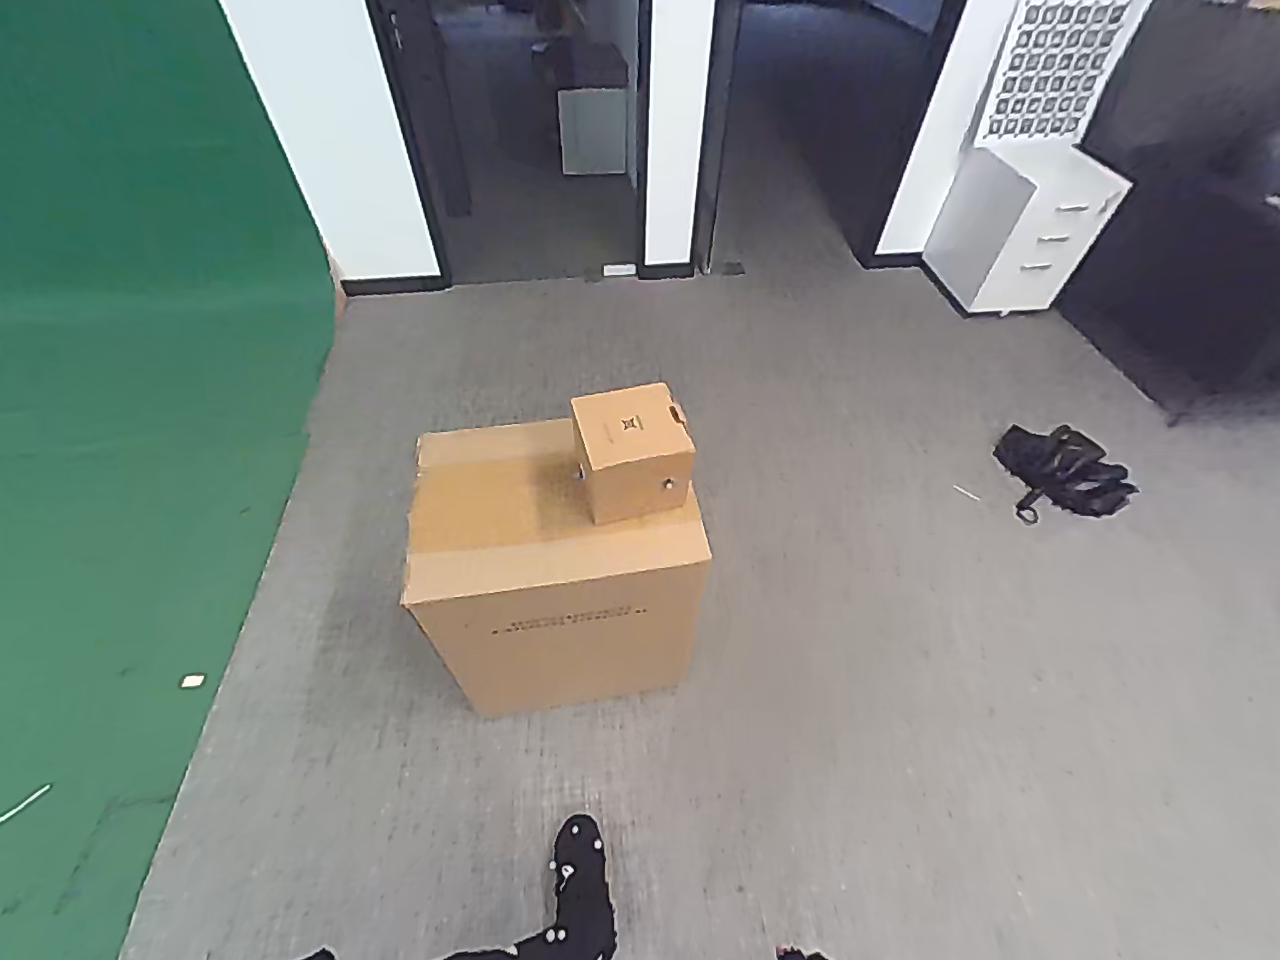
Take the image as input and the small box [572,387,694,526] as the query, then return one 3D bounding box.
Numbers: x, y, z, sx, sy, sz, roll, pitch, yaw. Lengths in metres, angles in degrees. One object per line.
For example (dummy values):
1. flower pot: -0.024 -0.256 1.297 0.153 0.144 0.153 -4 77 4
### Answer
1. small box: -0.018 -0.040 0.981 0.179 0.176 0.168 -13 54 -11
